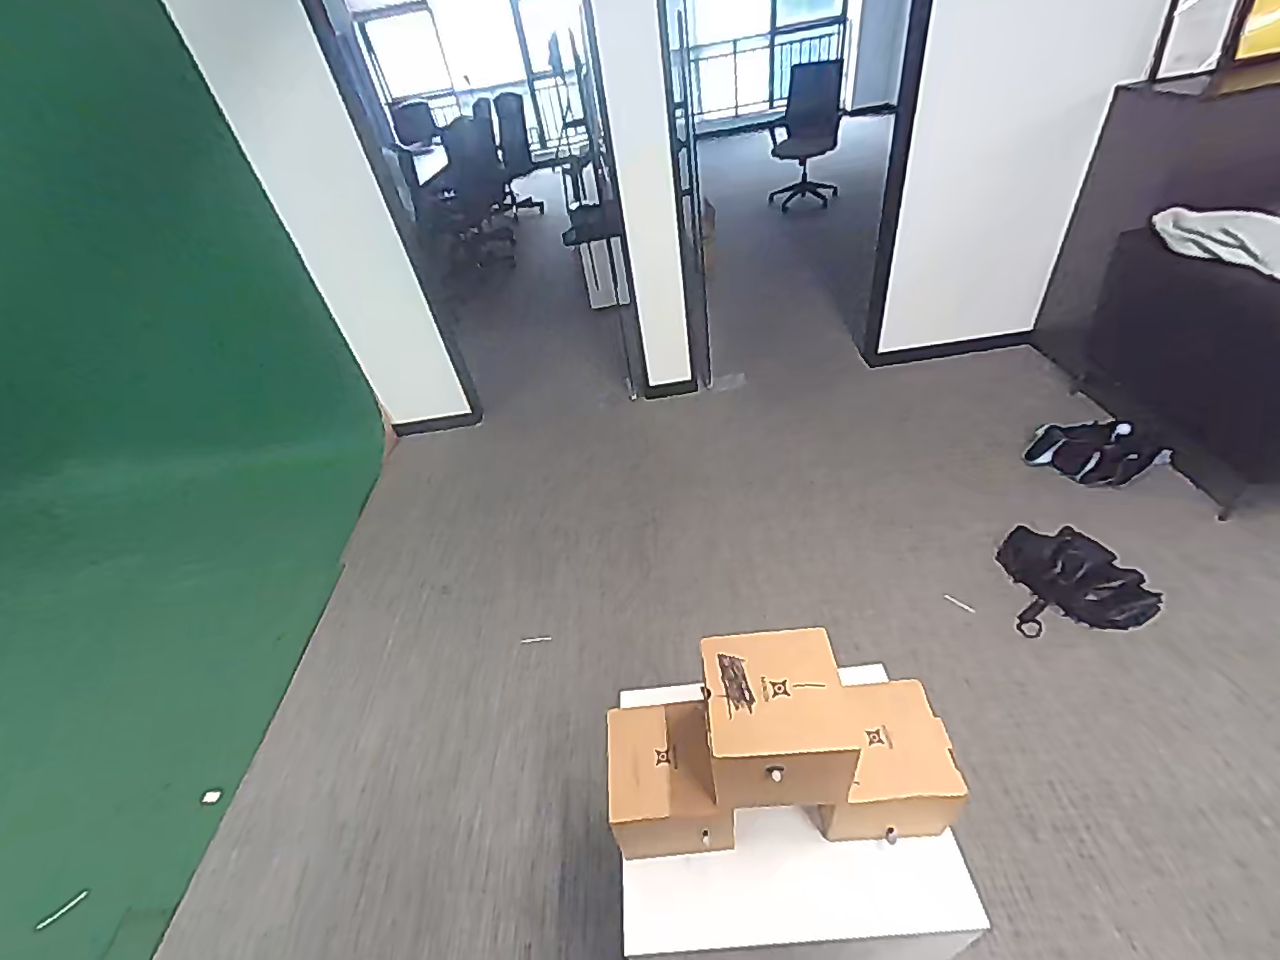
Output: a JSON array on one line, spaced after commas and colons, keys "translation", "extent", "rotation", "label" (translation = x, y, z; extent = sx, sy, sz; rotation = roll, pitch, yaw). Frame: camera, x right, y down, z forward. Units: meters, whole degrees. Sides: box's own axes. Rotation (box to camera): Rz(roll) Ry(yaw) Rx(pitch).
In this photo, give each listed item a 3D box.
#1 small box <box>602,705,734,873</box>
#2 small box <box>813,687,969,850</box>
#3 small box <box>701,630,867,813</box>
[{"translation": [0.040, 0.470, 0.824], "extent": [0.179, 0.176, 0.168], "rotation": [-7, 38, 0], "label": "small box"}, {"translation": [0.351, 0.437, 0.819], "extent": [0.179, 0.176, 0.168], "rotation": [-7, 39, 3], "label": "small box"}, {"translation": [0.179, 0.324, 0.722], "extent": [0.179, 0.176, 0.168], "rotation": [-5, 39, 2], "label": "small box"}]
